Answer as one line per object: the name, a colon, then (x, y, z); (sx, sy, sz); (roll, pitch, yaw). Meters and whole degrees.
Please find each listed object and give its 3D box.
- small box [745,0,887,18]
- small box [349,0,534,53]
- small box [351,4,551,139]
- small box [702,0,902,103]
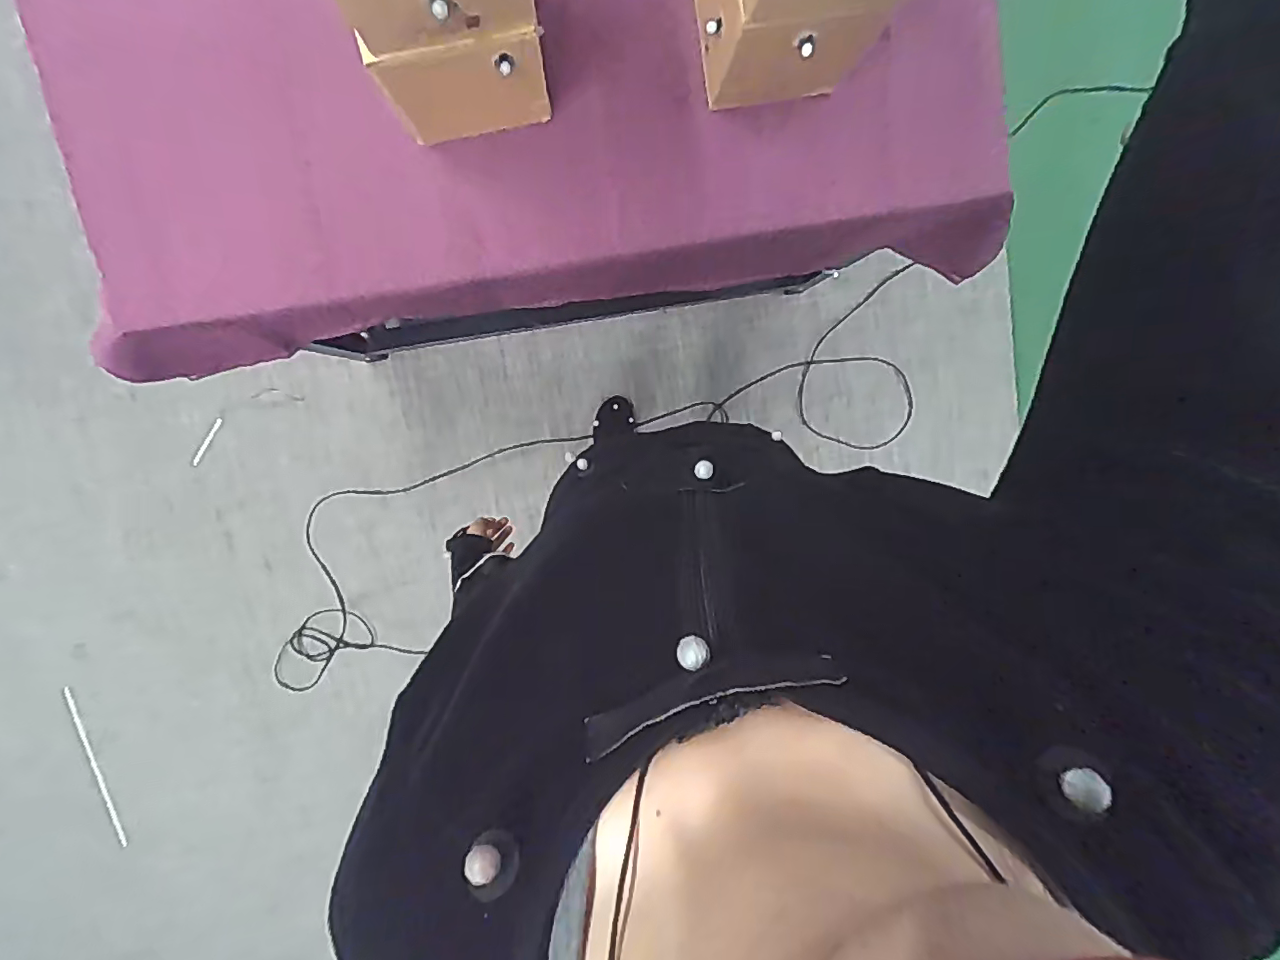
small box: (0.188, -0.547, 0.462); (0.179, 0.176, 0.168); (-9, 99, -2)
small box: (-0.192, -0.505, 0.439); (0.168, 0.176, 0.179); (-14, 98, -3)
small box: (-0.208, -0.516, 0.604); (0.179, 0.176, 0.168); (-14, 98, -3)
small box: (0.172, -0.570, 0.624); (0.179, 0.176, 0.168); (-10, 99, -3)
